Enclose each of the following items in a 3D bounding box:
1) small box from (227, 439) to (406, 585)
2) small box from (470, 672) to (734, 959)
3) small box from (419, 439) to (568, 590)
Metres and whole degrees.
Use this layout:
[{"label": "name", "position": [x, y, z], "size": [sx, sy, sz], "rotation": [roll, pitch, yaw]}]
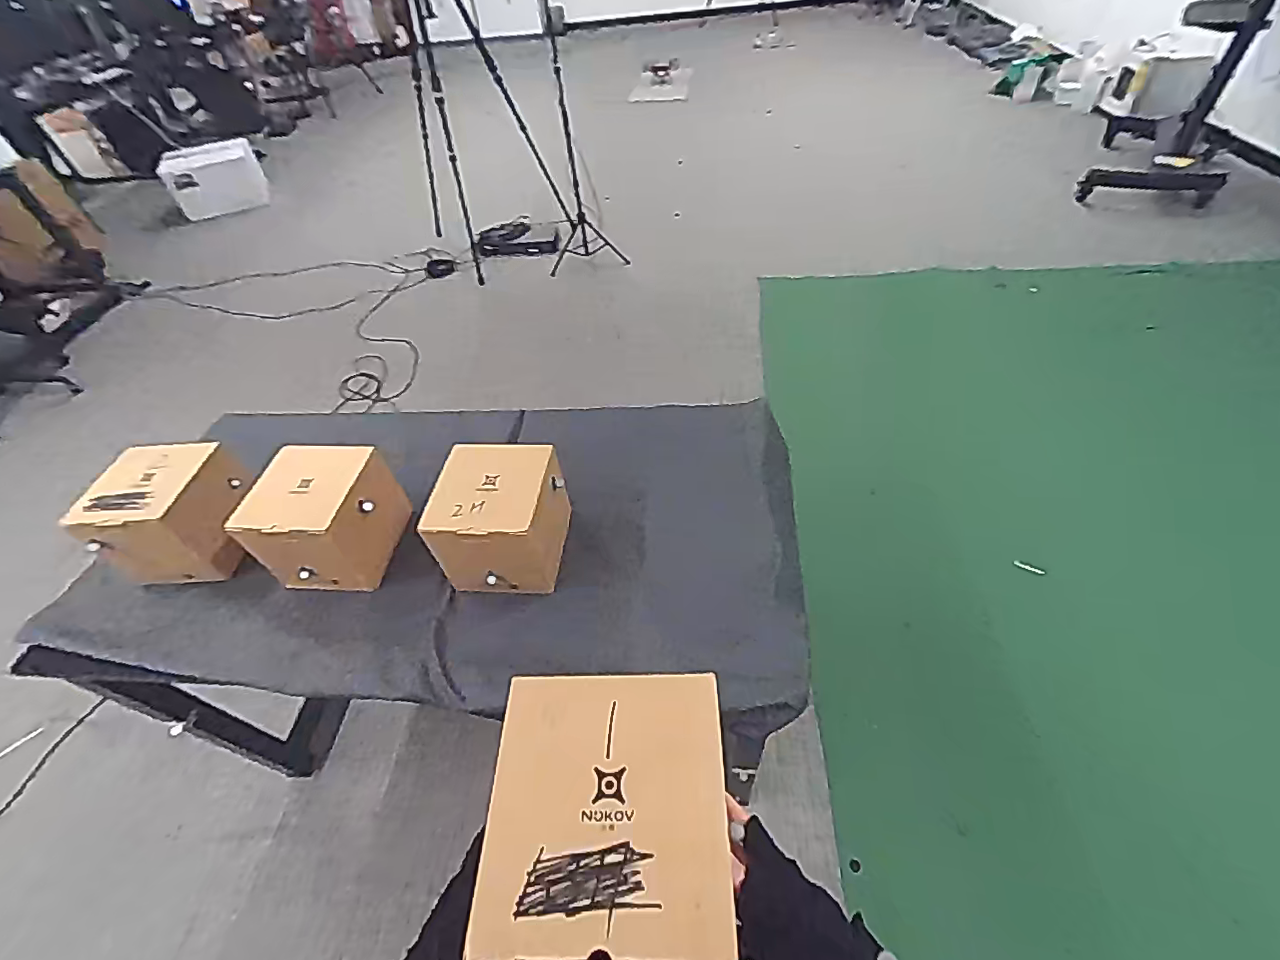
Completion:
[{"label": "small box", "position": [-0.515, 0.052, 0.897], "size": [0.168, 0.176, 0.179], "rotation": [1, 50, 6]}, {"label": "small box", "position": [-0.017, 0.272, 0.436], "size": [0.168, 0.176, 0.179], "rotation": [-2, 49, 3]}, {"label": "small box", "position": [-0.218, 0.054, 0.865], "size": [0.168, 0.176, 0.179], "rotation": [1, 49, 7]}]
